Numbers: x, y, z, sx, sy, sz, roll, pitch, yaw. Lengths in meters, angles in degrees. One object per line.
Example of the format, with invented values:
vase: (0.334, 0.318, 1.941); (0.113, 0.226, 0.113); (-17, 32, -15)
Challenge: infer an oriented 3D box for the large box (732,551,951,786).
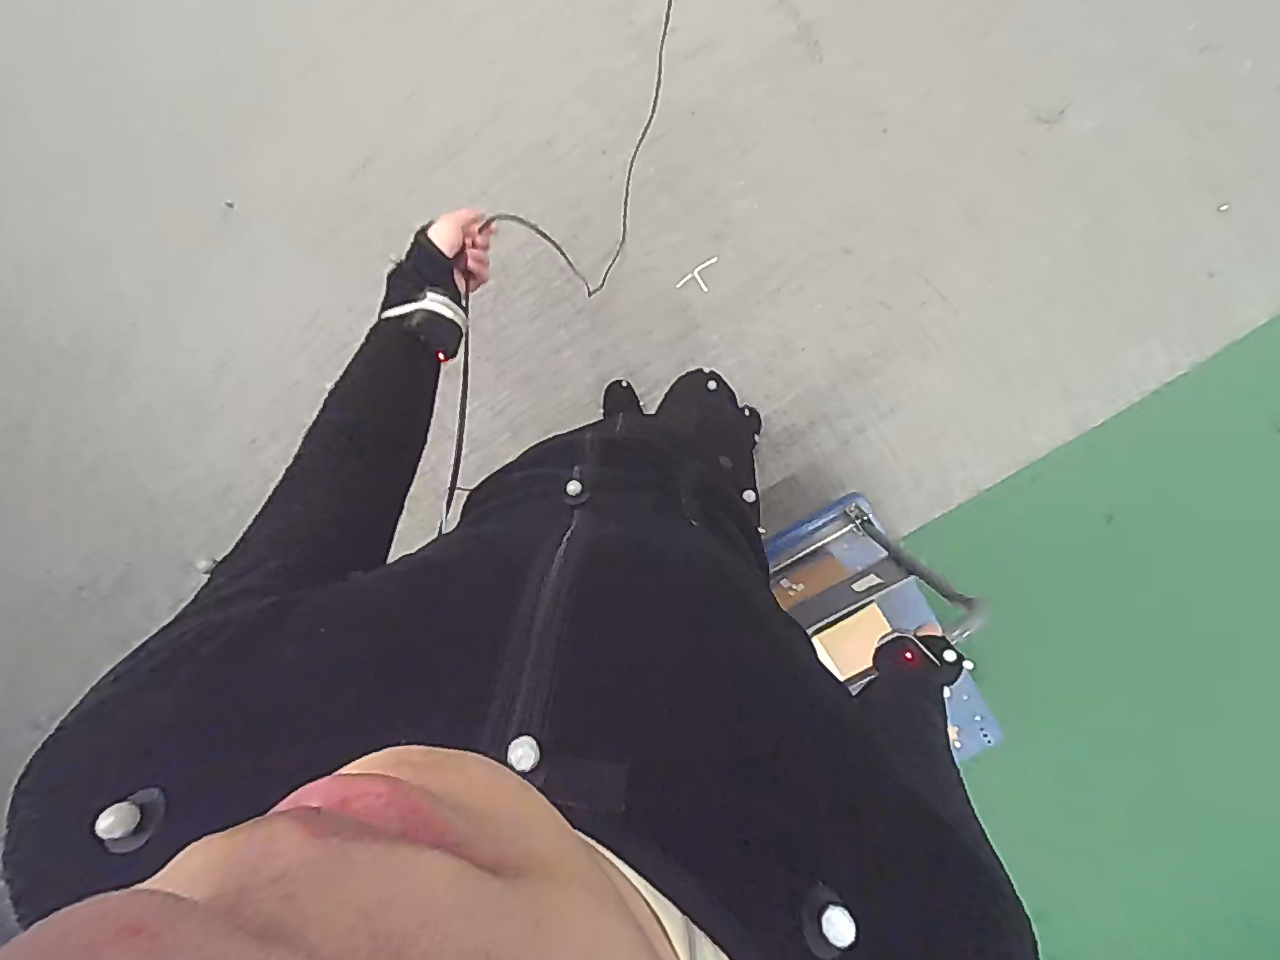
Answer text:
large box: (0.485, 0.459, 1.378); (0.320, 0.320, 0.408); (-32, 100, 9)
